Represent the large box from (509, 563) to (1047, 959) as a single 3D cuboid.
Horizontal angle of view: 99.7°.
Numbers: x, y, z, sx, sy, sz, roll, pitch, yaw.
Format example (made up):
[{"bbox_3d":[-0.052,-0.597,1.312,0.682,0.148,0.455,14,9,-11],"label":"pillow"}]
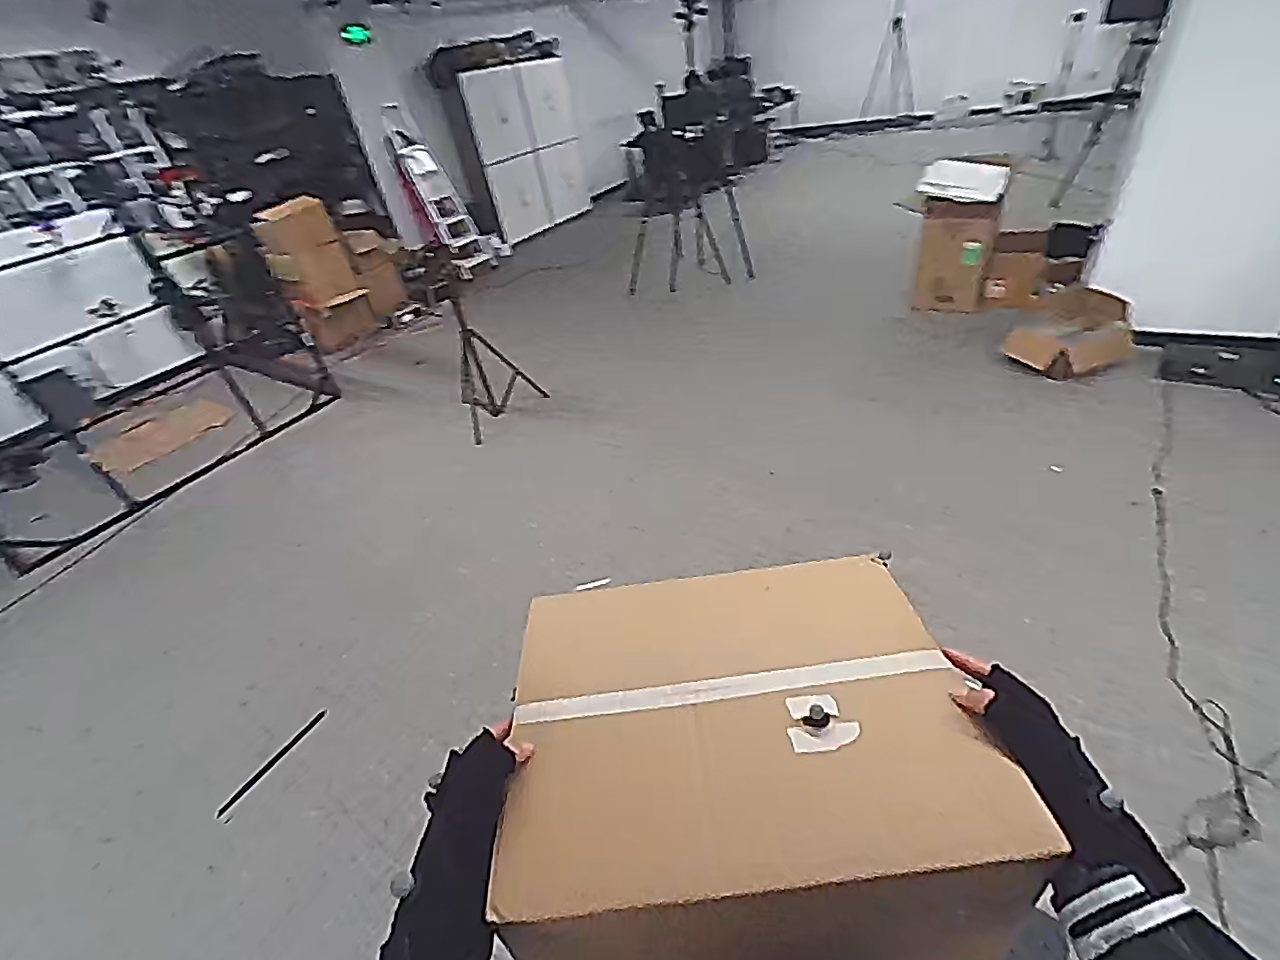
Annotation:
[{"bbox_3d":[0.107,0.329,0.592,0.408,0.320,0.320,-7,32,1],"label":"large box"}]
